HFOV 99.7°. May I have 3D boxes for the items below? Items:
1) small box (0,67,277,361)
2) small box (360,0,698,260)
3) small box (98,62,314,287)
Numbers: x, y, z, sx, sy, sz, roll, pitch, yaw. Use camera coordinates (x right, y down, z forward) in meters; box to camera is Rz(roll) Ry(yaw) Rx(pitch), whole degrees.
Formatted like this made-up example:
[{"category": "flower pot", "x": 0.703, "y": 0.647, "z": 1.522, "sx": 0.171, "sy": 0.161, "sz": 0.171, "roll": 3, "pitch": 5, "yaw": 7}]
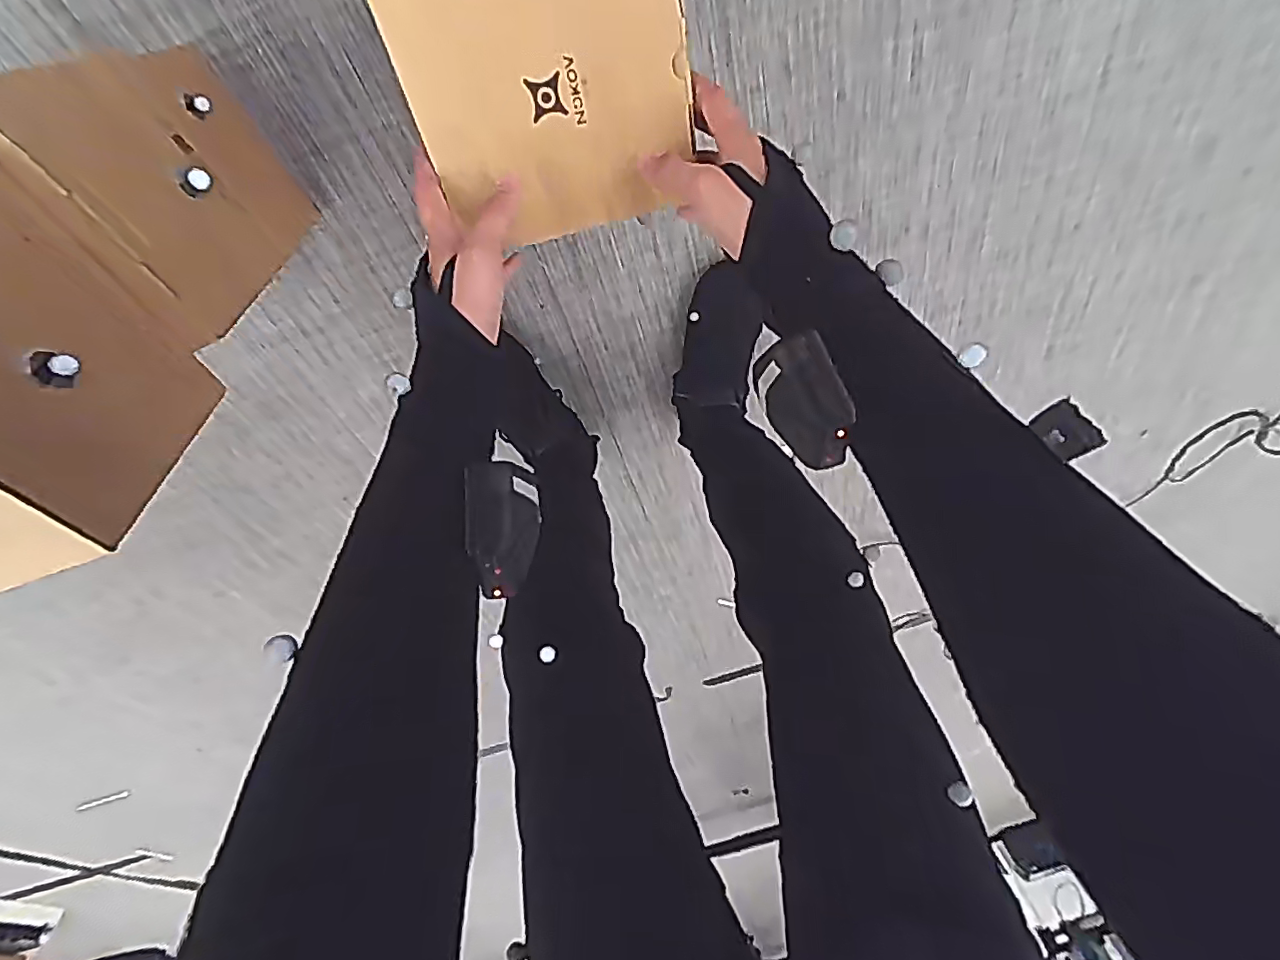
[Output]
[{"category": "small box", "x": -0.424, "y": -0.174, "z": 0.406, "sx": 0.179, "sy": 0.176, "sz": 0.168, "roll": -22, "pitch": 133, "yaw": 7}, {"category": "small box", "x": -0.069, "y": -0.287, "z": 0.391, "sx": 0.179, "sy": 0.176, "sz": 0.168, "roll": -15, "pitch": 134, "yaw": -1}, {"category": "small box", "x": -0.465, "y": -0.277, "z": 0.528, "sx": 0.168, "sy": 0.176, "sz": 0.179, "roll": -21, "pitch": 134, "yaw": 6}]
